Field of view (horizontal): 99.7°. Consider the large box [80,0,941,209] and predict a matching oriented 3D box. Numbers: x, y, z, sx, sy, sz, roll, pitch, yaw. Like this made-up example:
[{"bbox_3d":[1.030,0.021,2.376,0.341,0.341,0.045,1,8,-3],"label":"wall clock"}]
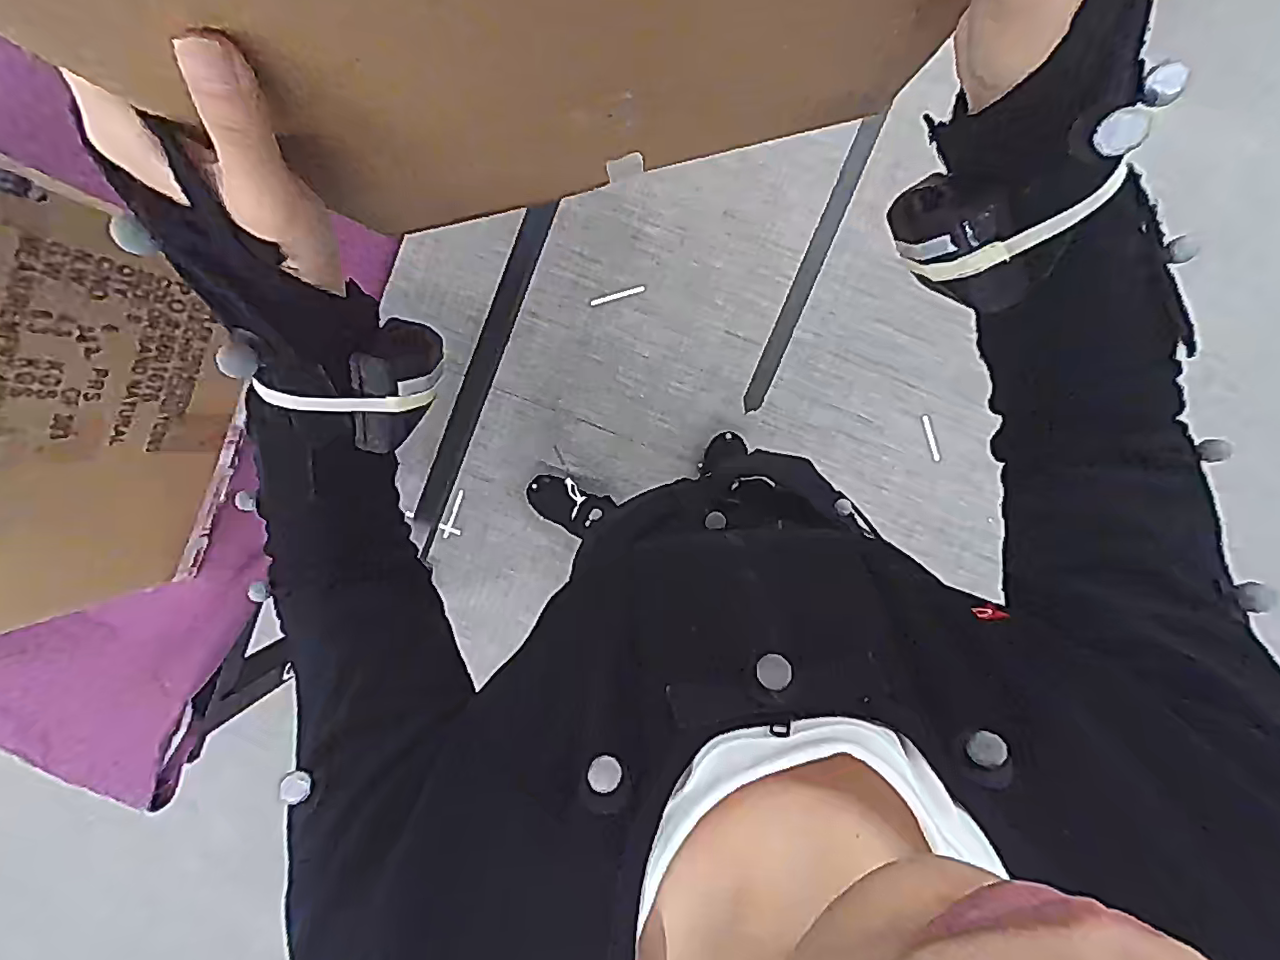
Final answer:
[{"bbox_3d":[-0.054,-0.358,0.143,0.320,0.320,0.408,-13,100,5],"label":"large box"}]
